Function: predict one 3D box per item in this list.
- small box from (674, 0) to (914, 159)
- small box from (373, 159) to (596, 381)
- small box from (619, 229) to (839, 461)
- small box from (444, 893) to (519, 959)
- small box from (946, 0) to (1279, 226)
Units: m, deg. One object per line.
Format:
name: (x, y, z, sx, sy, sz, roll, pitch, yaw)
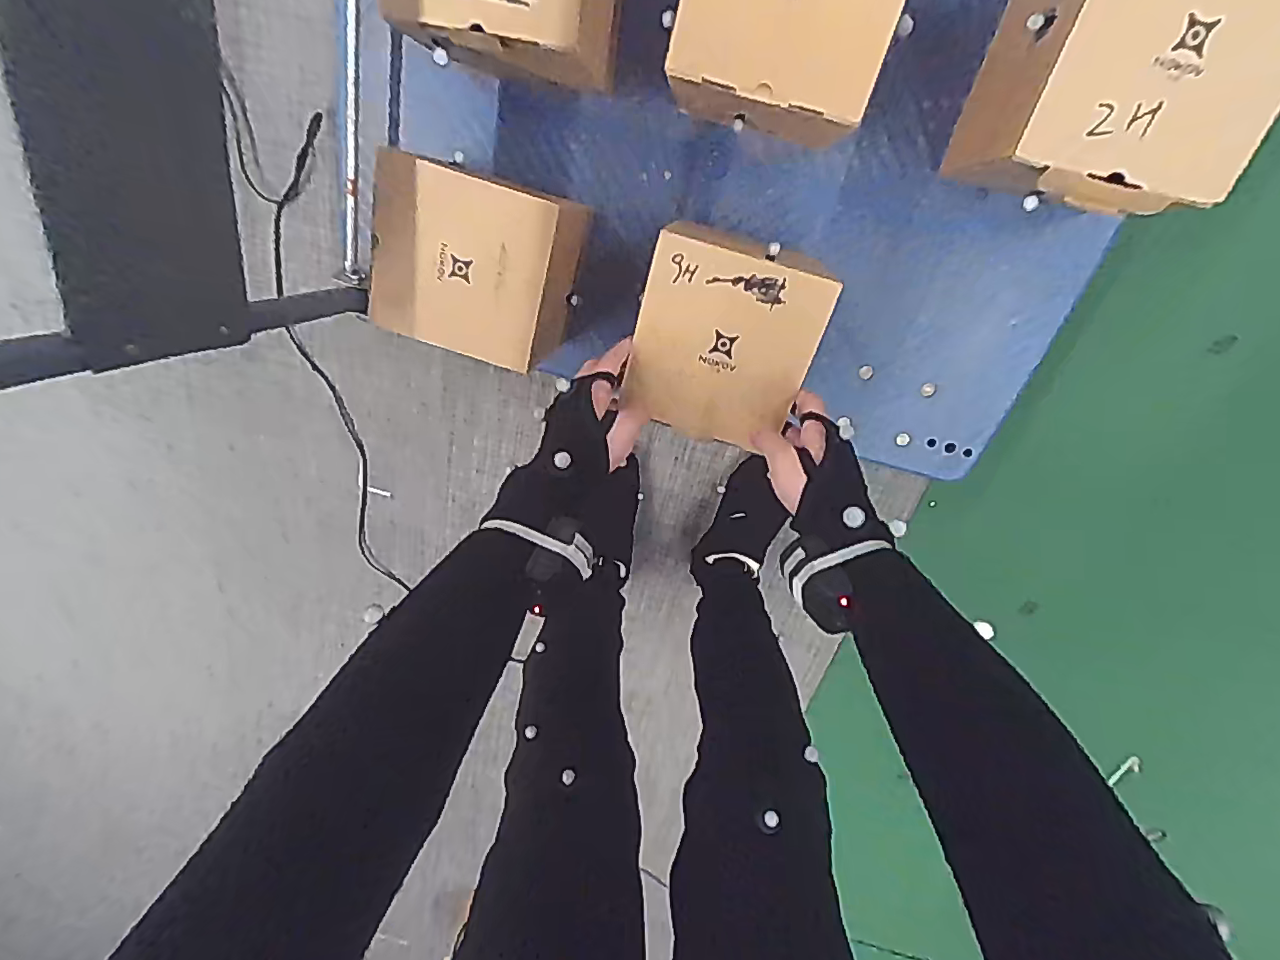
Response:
small box: (0.134, -0.408, 0.478, 0.168, 0.176, 0.179, 16, 117, 0)
small box: (-0.163, -0.230, 0.600, 0.179, 0.176, 0.168, 18, 116, -2)
small box: (0.090, -0.152, 0.580, 0.168, 0.176, 0.179, 18, 120, 0)
small box: (-0.473, 1.370, 1.598, 0.168, 0.176, 0.179, 20, 117, -1)
small box: (0.404, -0.335, 0.471, 0.168, 0.176, 0.179, 16, 116, 2)
